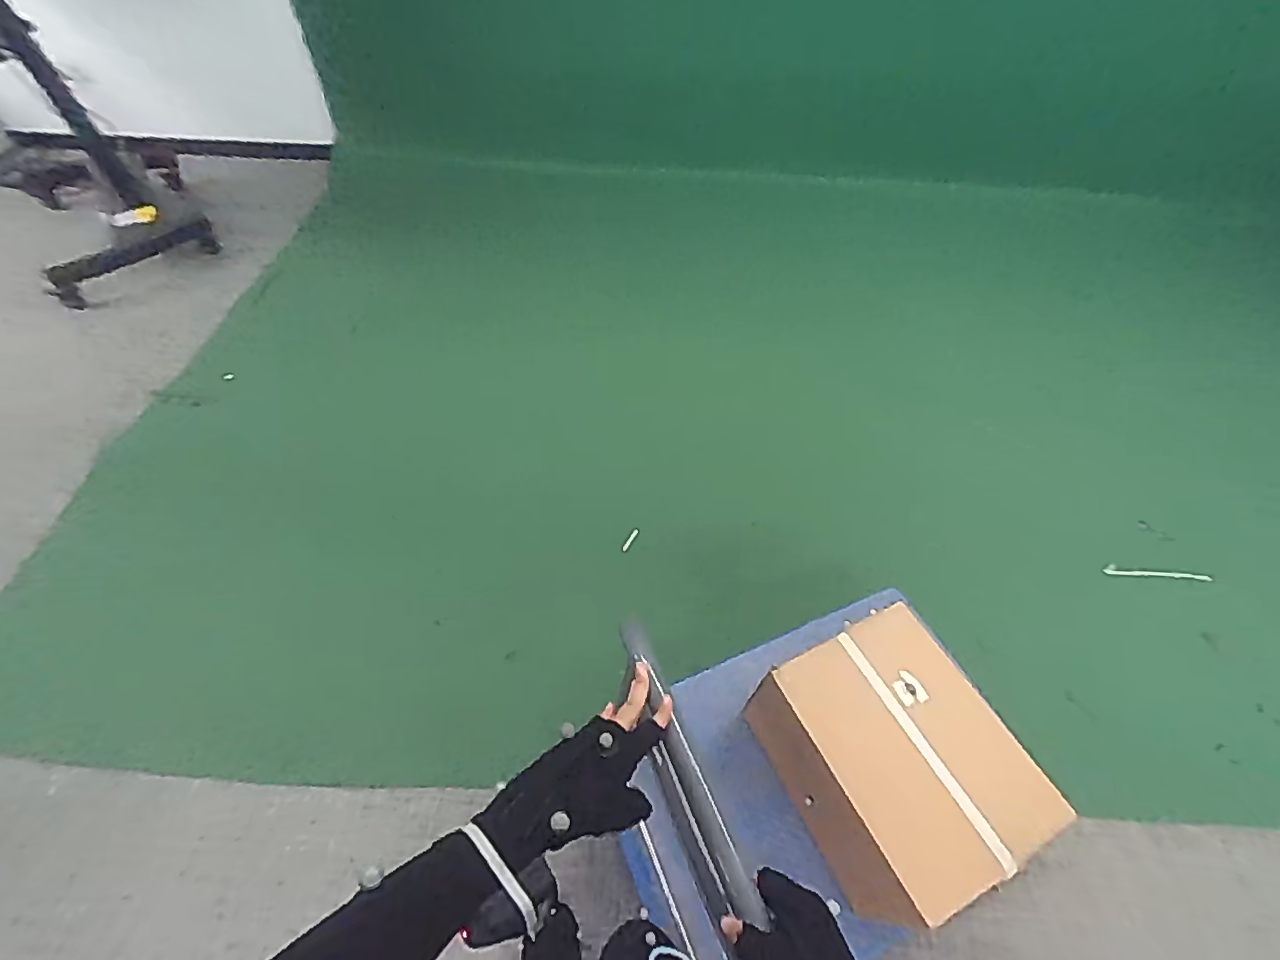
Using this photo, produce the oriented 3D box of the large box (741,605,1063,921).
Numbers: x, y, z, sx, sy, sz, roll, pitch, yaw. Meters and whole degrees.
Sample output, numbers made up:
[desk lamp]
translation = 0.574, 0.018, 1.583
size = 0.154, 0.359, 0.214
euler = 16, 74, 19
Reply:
[large box]
translation = 0.448, 0.529, 1.036
size = 0.320, 0.320, 0.408
euler = -21, 56, -17
